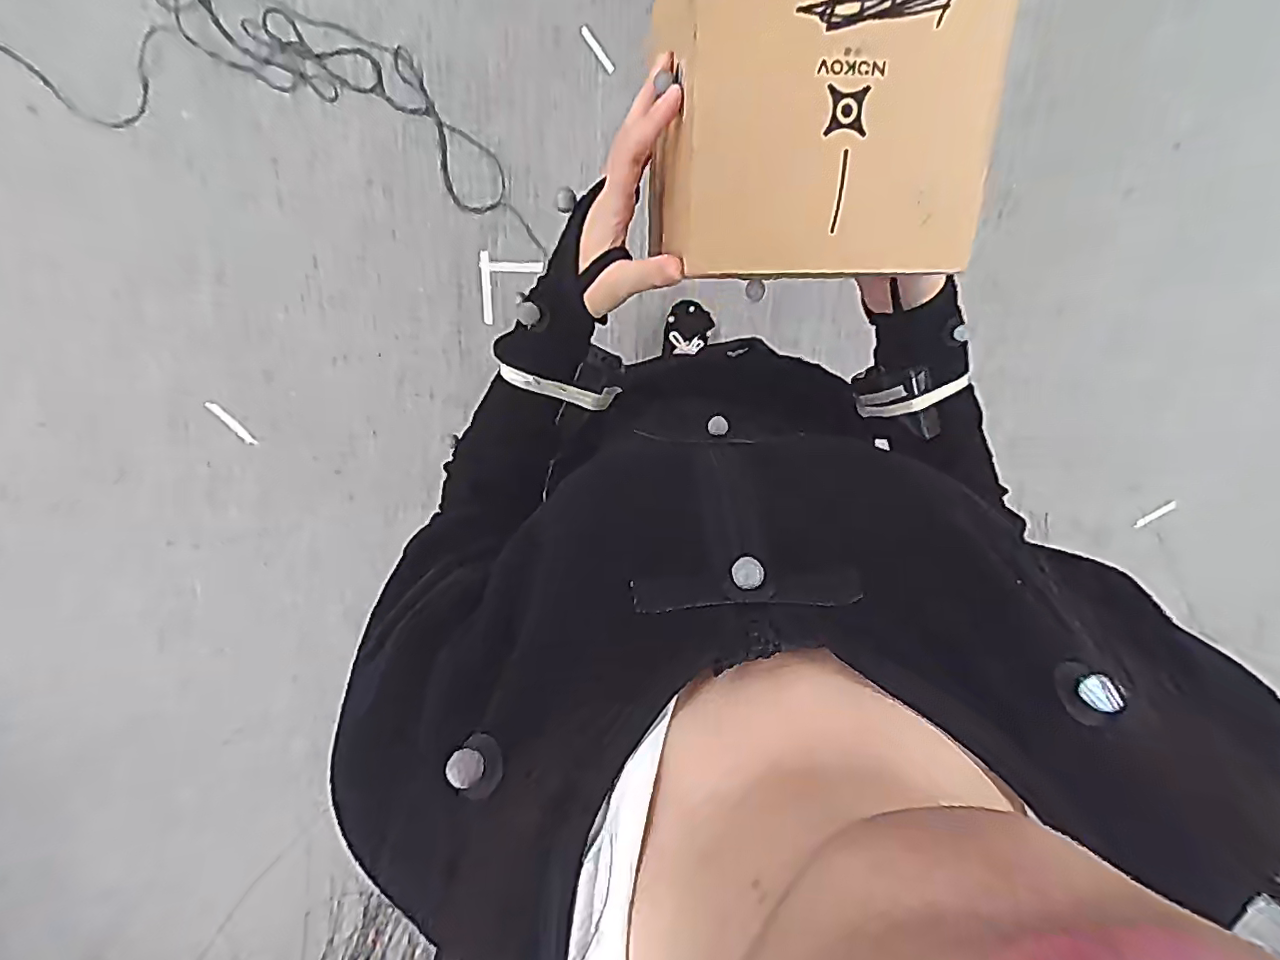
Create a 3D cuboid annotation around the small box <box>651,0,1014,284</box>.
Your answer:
[{"bbox_3d":[0.100,-0.227,0.359,0.168,0.176,0.179,-2,109,-7],"label":"small box"}]
